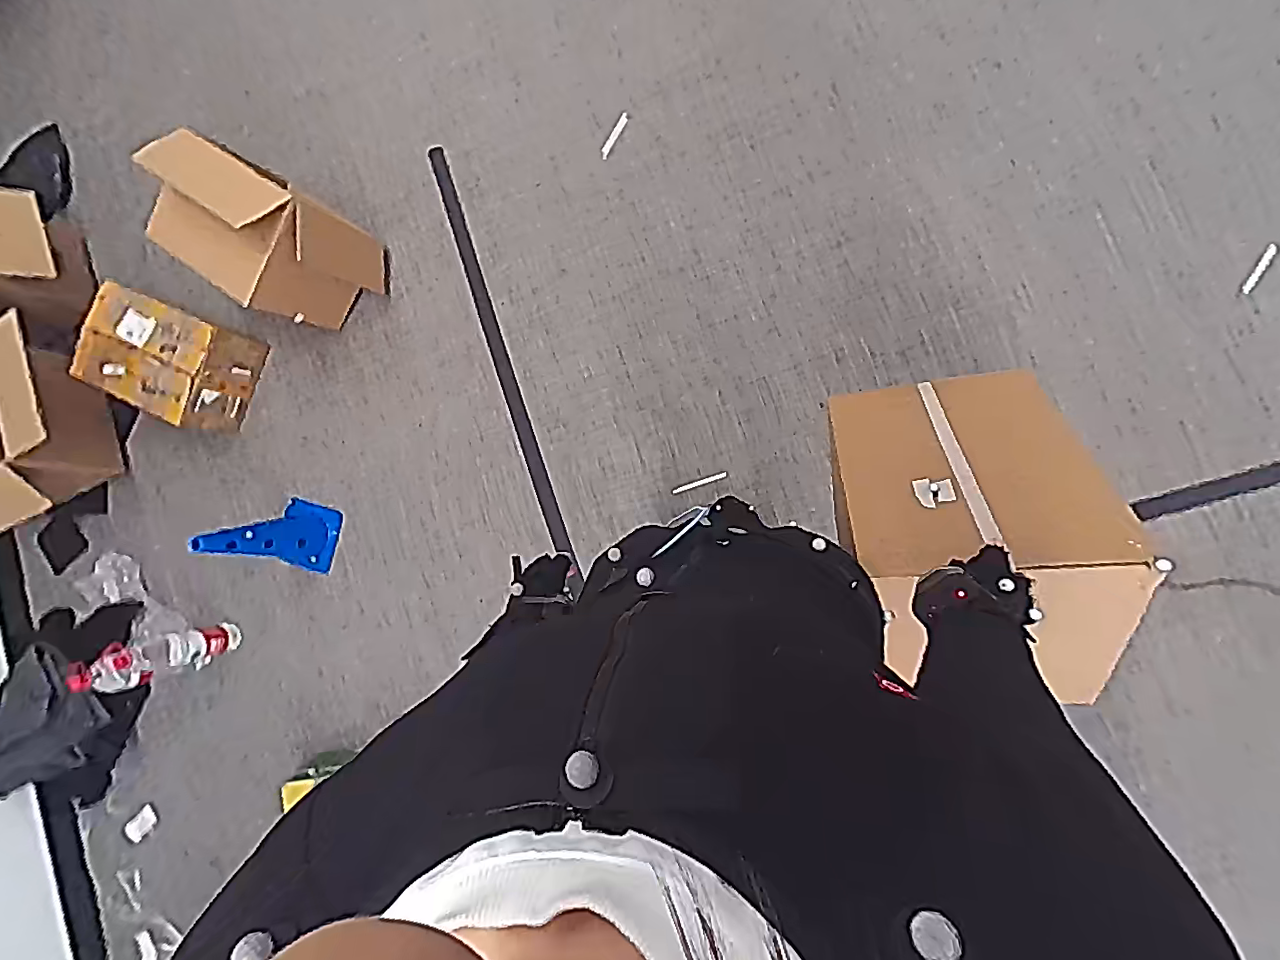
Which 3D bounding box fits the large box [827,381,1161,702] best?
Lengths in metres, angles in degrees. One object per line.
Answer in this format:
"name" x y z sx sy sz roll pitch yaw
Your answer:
"large box" 0.492 0.093 0.872 0.320 0.320 0.408 -6 41 17
